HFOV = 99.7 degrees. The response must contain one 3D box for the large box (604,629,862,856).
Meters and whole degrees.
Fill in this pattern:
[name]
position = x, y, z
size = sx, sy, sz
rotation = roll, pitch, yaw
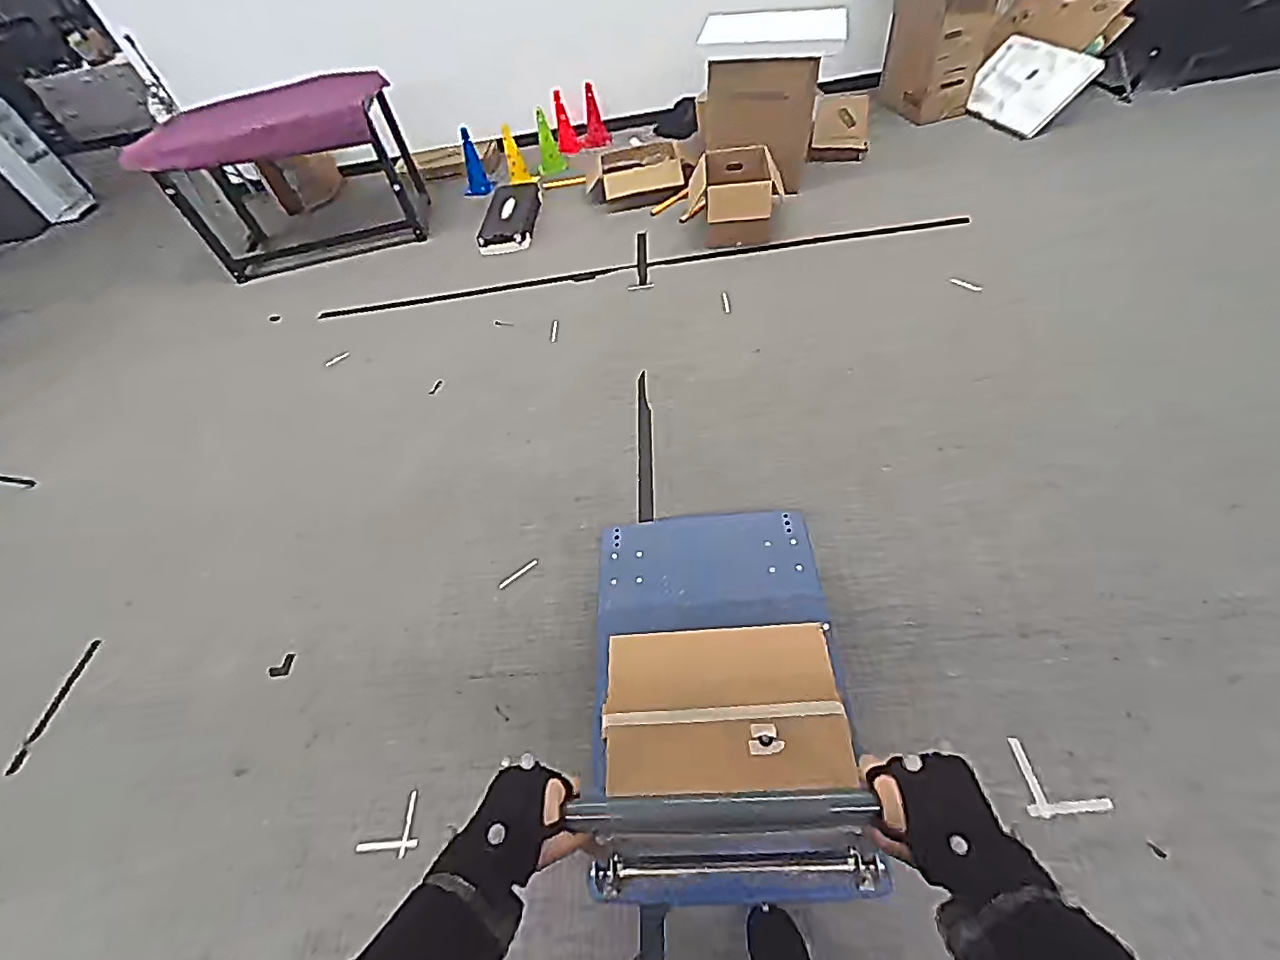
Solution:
[large box]
position = 0.153, 0.508, 1.033
size = 0.408, 0.320, 0.320
rotation = -5, 51, 5
